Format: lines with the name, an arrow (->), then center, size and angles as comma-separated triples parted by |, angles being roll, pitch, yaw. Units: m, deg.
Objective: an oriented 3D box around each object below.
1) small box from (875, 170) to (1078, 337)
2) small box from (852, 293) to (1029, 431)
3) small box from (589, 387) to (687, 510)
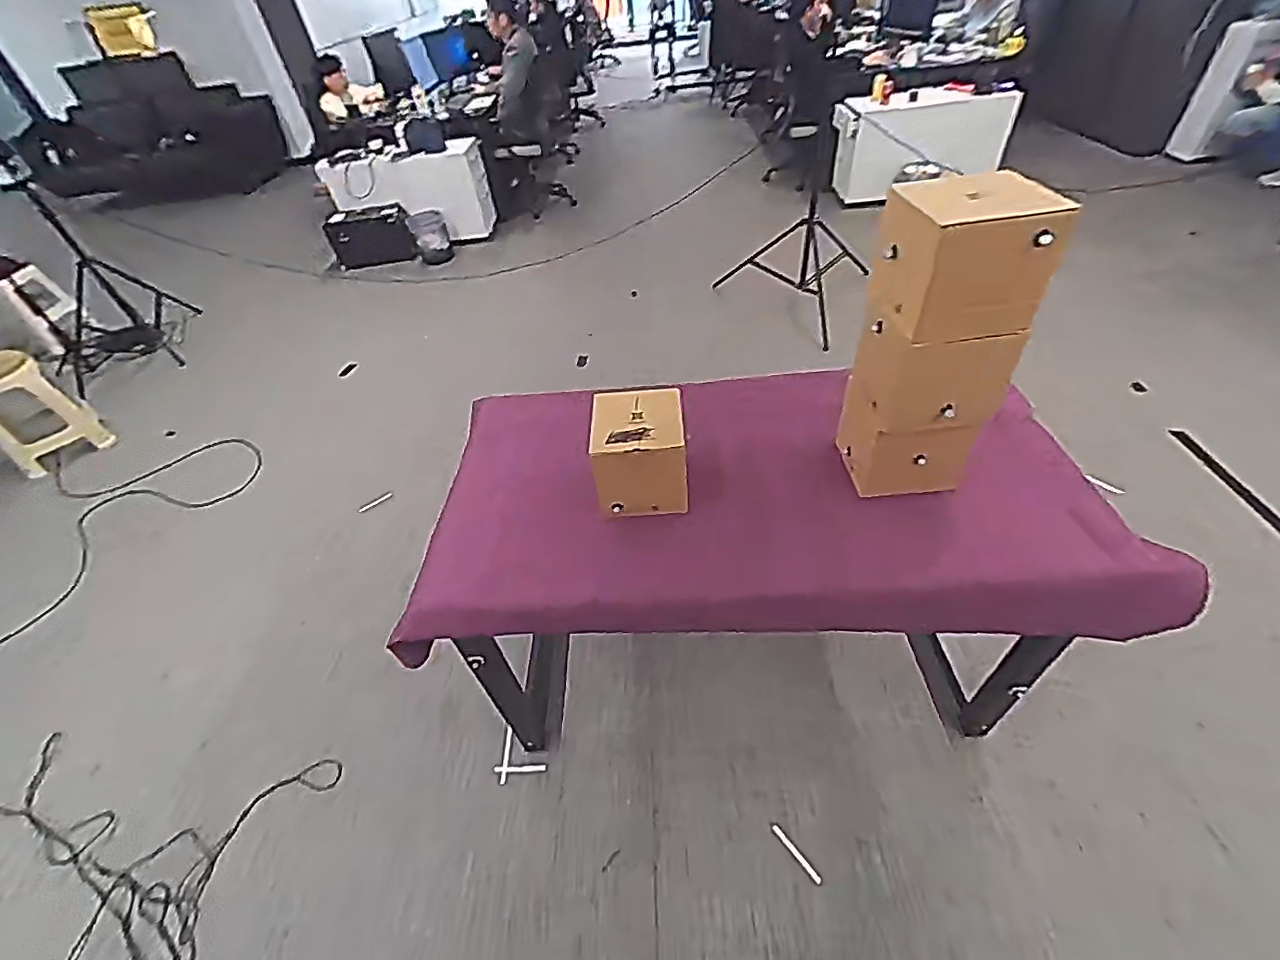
small box -> 0.455, -0.320, 0.774 | 0.179, 0.176, 0.168 | -7, 44, 1
small box -> 0.472, -0.198, 0.882 | 0.179, 0.176, 0.168 | -7, 44, 0
small box -> 0.002, -0.054, 1.030 | 0.168, 0.176, 0.179 | -4, 44, 3
